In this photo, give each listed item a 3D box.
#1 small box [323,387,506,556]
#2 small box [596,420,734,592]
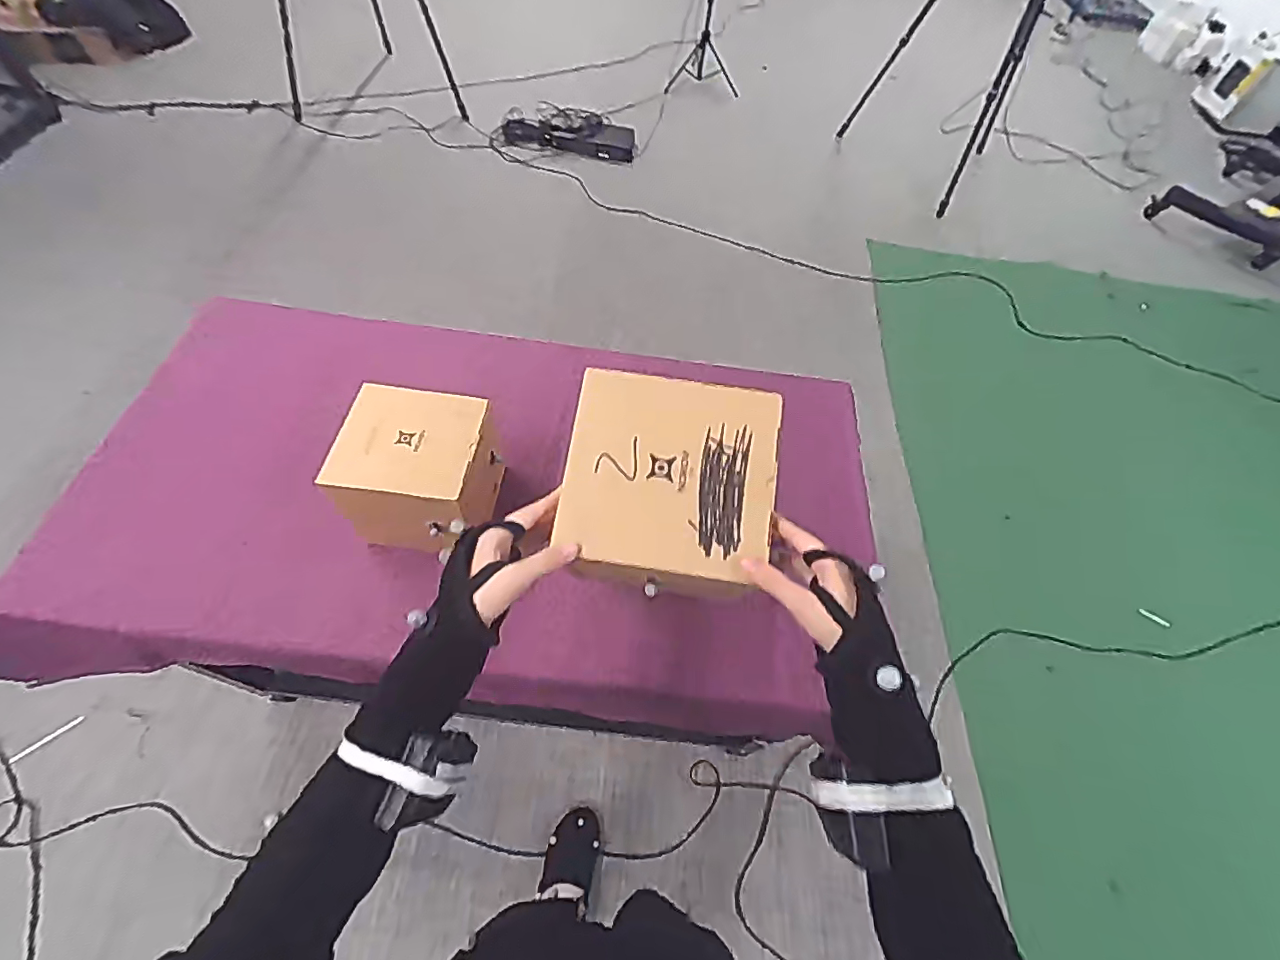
[{"bbox_3d":[-0.298,-0.005,0.766,0.179,0.176,0.168,7,56,-1],"label":"small box"},{"bbox_3d":[0.033,0.043,0.771,0.168,0.176,0.179,9,56,0],"label":"small box"}]
